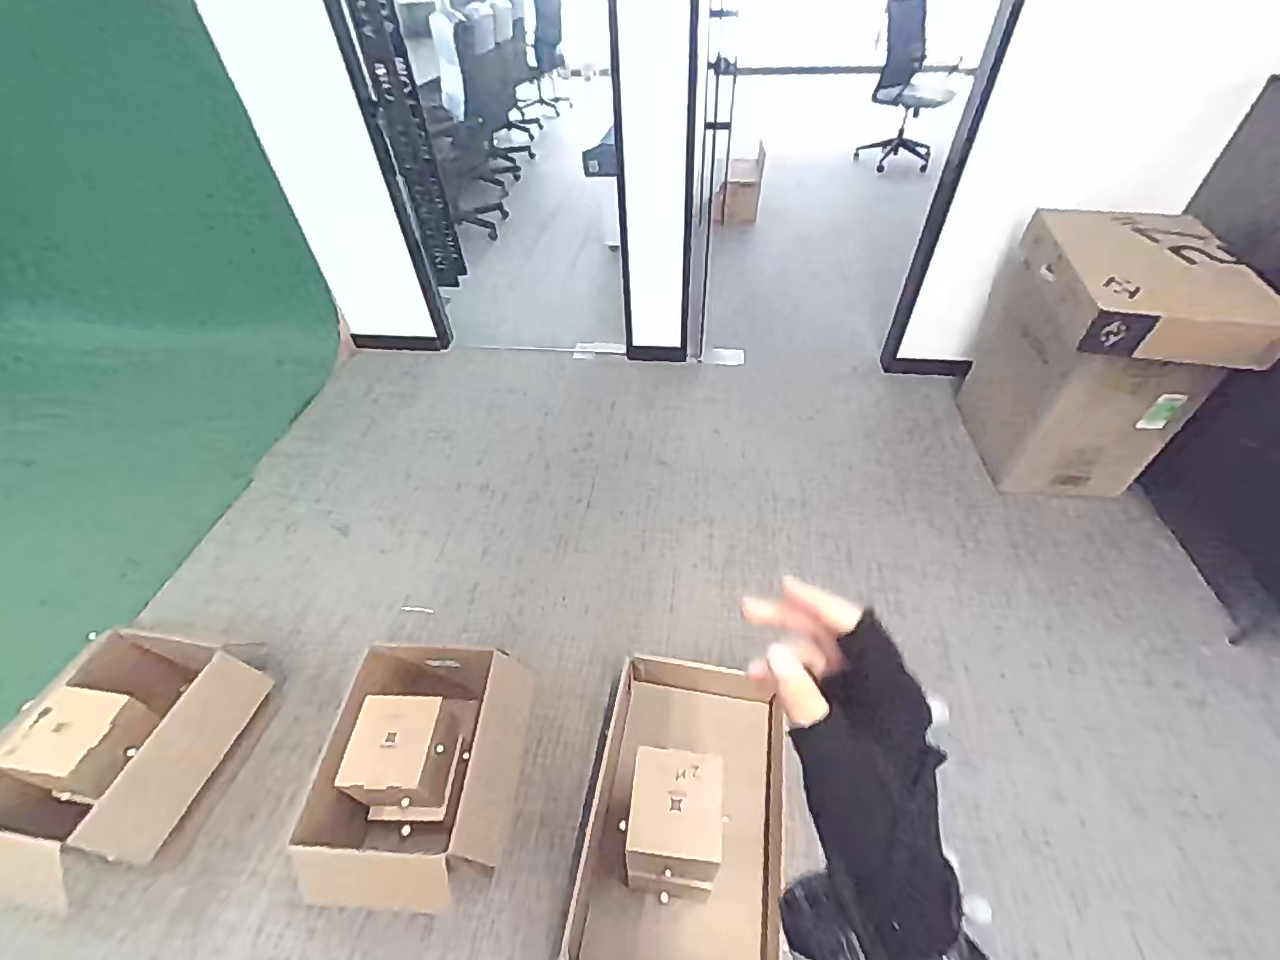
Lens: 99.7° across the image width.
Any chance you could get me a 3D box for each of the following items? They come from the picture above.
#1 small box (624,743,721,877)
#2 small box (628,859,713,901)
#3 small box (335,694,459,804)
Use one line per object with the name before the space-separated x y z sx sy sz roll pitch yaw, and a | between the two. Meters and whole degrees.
small box | 0.064 0.631 1.029 0.168 0.176 0.179 5 45 5
small box | 0.069 0.753 1.139 0.168 0.176 0.179 6 45 7
small box | -0.500 0.572 1.144 0.168 0.176 0.179 1 48 2
